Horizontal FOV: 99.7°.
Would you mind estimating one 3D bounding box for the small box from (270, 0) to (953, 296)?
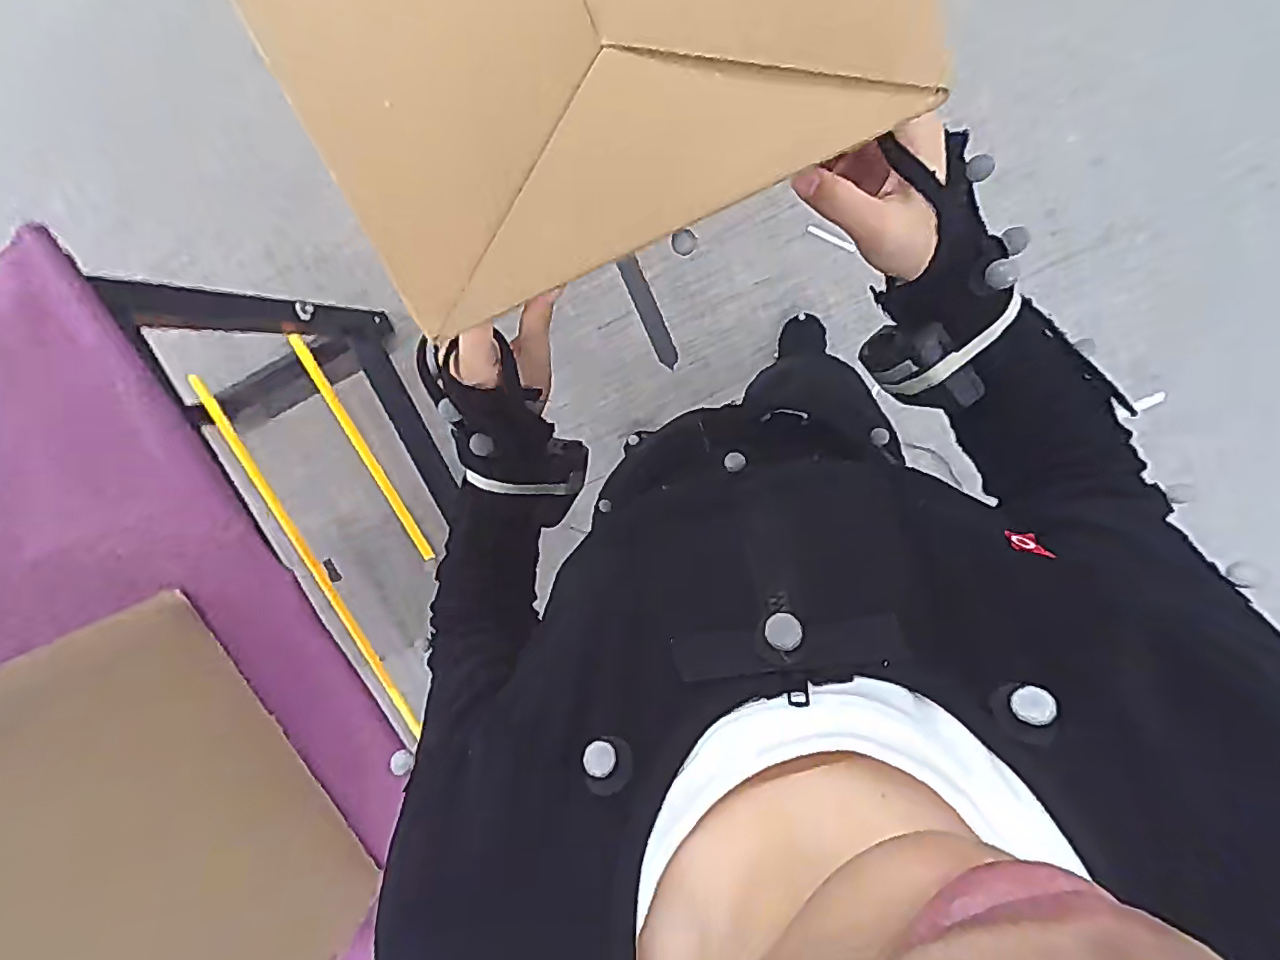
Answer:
[{"bbox_3d":[-0.017,-0.183,0.208,0.179,0.176,0.168,-22,112,7],"label":"small box"}]
